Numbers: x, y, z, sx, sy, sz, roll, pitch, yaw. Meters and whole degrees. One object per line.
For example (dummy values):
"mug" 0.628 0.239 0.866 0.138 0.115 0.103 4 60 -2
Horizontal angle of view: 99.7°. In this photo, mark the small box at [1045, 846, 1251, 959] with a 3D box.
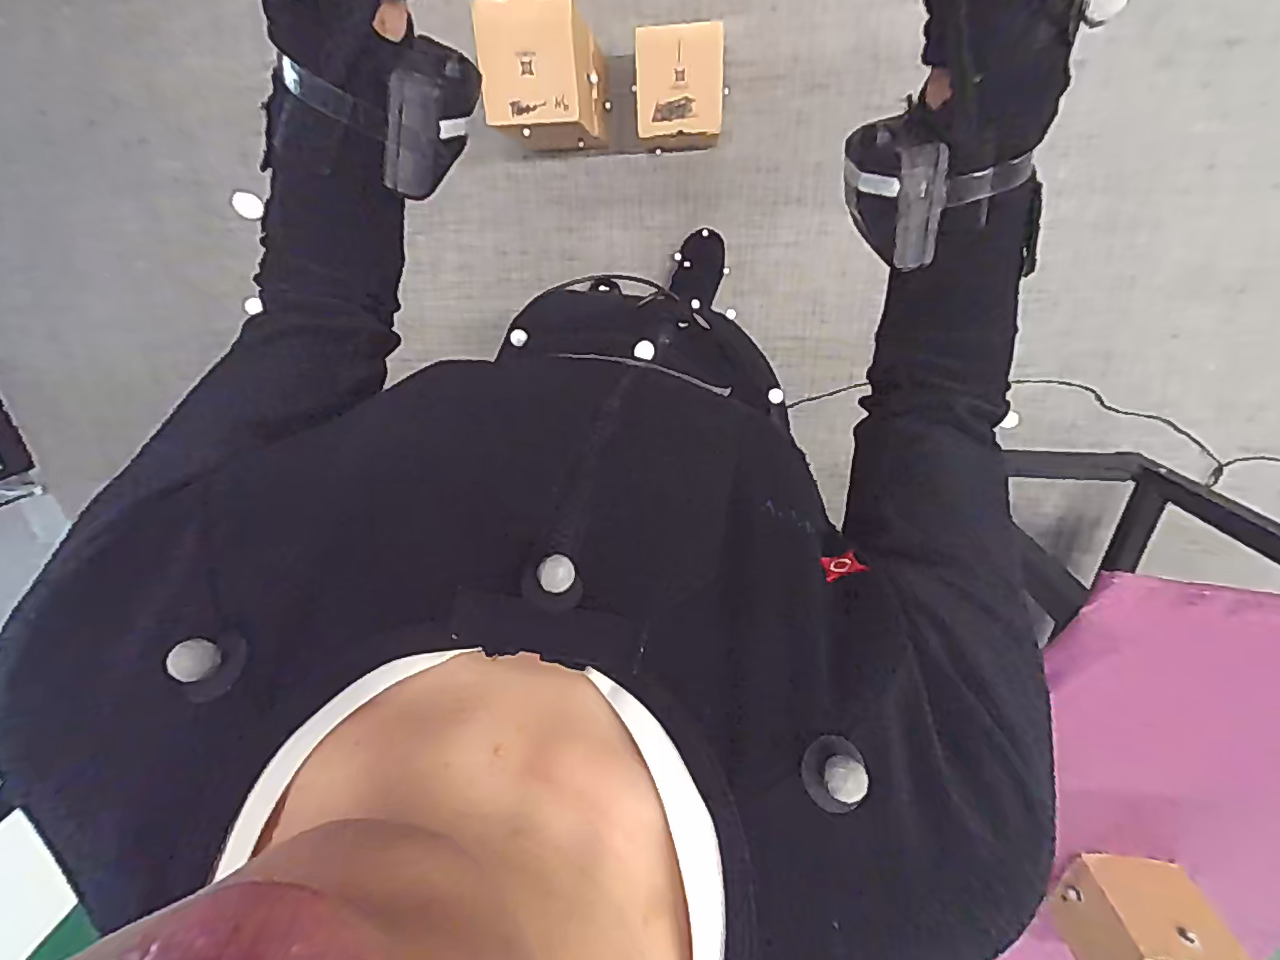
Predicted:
"small box" 0.858 0.768 0.929 0.179 0.176 0.168 6 114 3

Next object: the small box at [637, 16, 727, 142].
"small box" 0.086 -0.793 1.089 0.168 0.176 0.179 0 114 5

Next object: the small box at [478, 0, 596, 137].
"small box" -0.174 -0.732 0.964 0.168 0.176 0.179 1 114 5
